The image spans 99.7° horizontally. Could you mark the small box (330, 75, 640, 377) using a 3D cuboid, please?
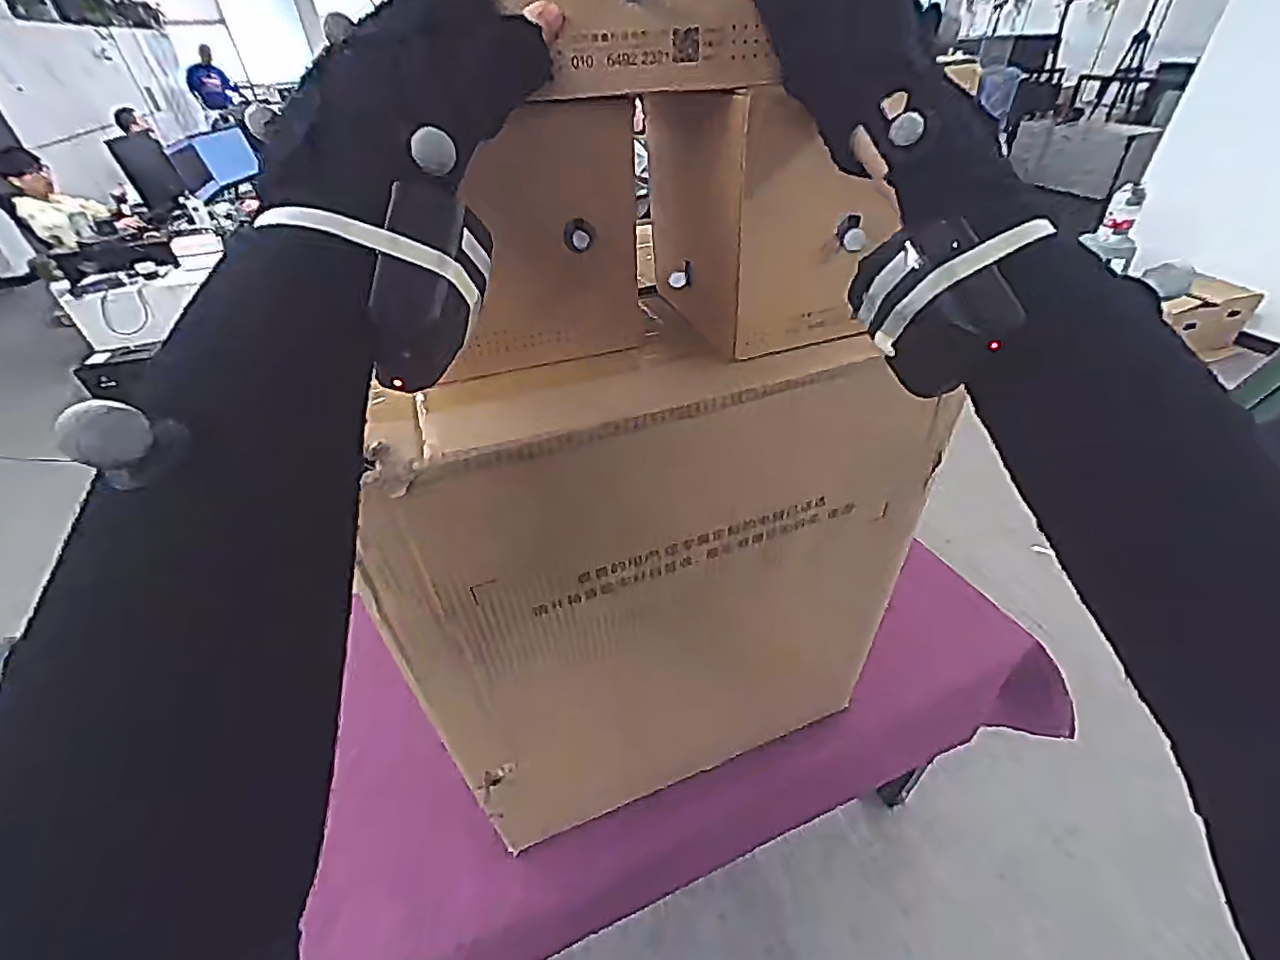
[{"bbox_3d":[-0.107,-0.198,0.412,0.179,0.176,0.168,-15,40,-15],"label":"small box"}]

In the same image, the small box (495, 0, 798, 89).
[{"bbox_3d":[-0.006,-0.339,0.319,0.168,0.176,0.179,-7,39,-4],"label":"small box"}]

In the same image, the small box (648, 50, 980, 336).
[{"bbox_3d":[0.114,-0.226,0.430,0.168,0.176,0.179,-15,40,-12],"label":"small box"}]
